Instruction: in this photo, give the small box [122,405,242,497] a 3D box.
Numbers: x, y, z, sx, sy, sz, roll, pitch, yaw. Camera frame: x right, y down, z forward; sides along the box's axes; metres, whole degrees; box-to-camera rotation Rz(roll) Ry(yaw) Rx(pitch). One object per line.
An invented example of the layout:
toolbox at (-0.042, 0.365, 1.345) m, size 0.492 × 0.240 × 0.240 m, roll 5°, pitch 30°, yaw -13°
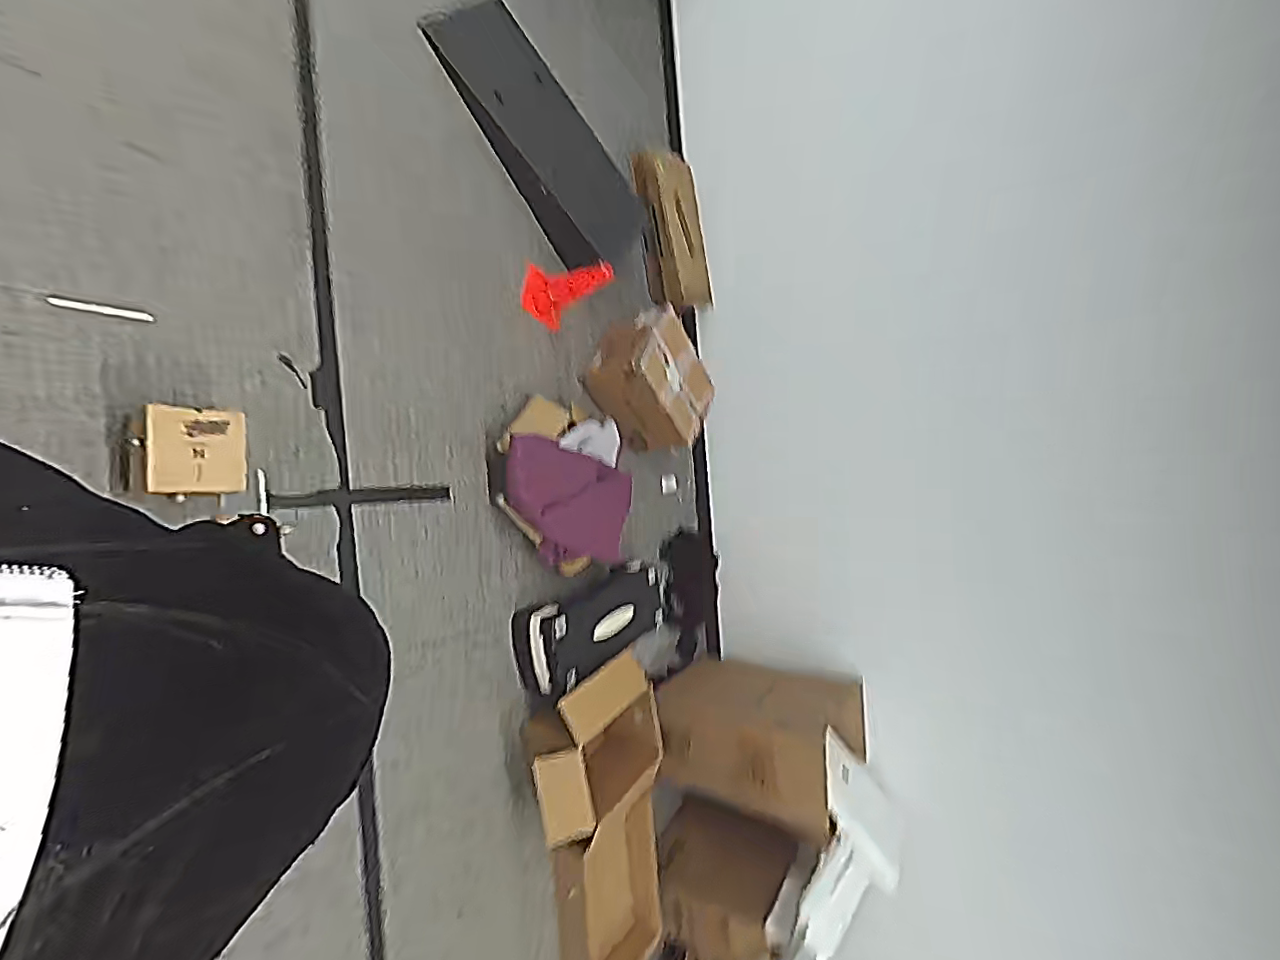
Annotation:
small box at (-0.986, -0.055, 1.165) m, size 0.168 × 0.176 × 0.179 m, roll 2°, pitch 86°, yaw -53°
